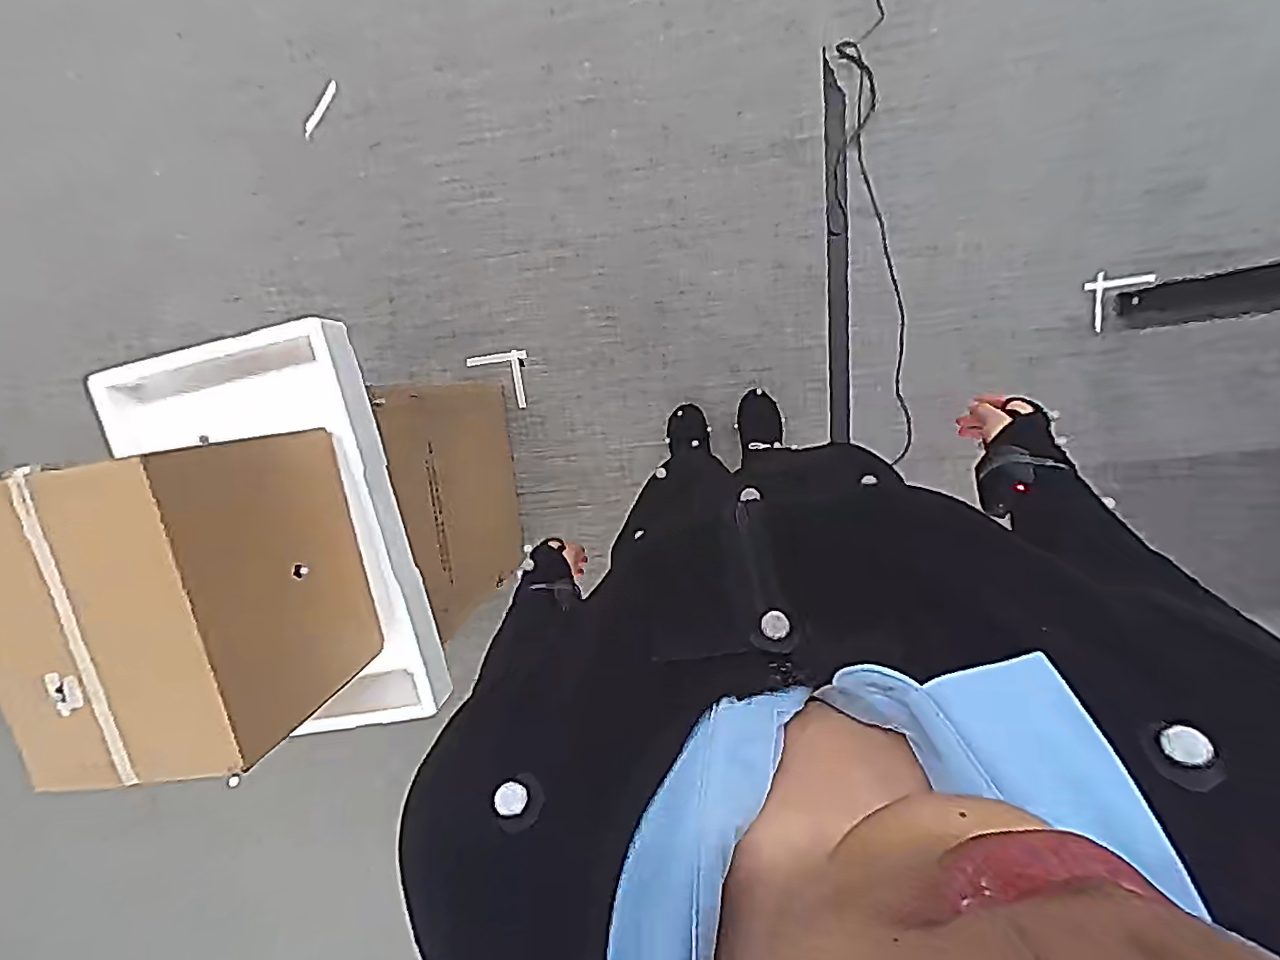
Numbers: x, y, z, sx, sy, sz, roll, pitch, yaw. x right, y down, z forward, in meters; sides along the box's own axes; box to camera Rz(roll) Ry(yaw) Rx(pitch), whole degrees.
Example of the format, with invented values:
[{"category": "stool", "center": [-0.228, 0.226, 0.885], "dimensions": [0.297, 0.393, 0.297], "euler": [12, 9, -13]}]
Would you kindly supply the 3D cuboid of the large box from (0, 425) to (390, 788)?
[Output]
[{"category": "large box", "center": [-0.635, 0.156, 0.793], "dimensions": [0.320, 0.320, 0.408], "euler": [-9, 101, 9]}]
